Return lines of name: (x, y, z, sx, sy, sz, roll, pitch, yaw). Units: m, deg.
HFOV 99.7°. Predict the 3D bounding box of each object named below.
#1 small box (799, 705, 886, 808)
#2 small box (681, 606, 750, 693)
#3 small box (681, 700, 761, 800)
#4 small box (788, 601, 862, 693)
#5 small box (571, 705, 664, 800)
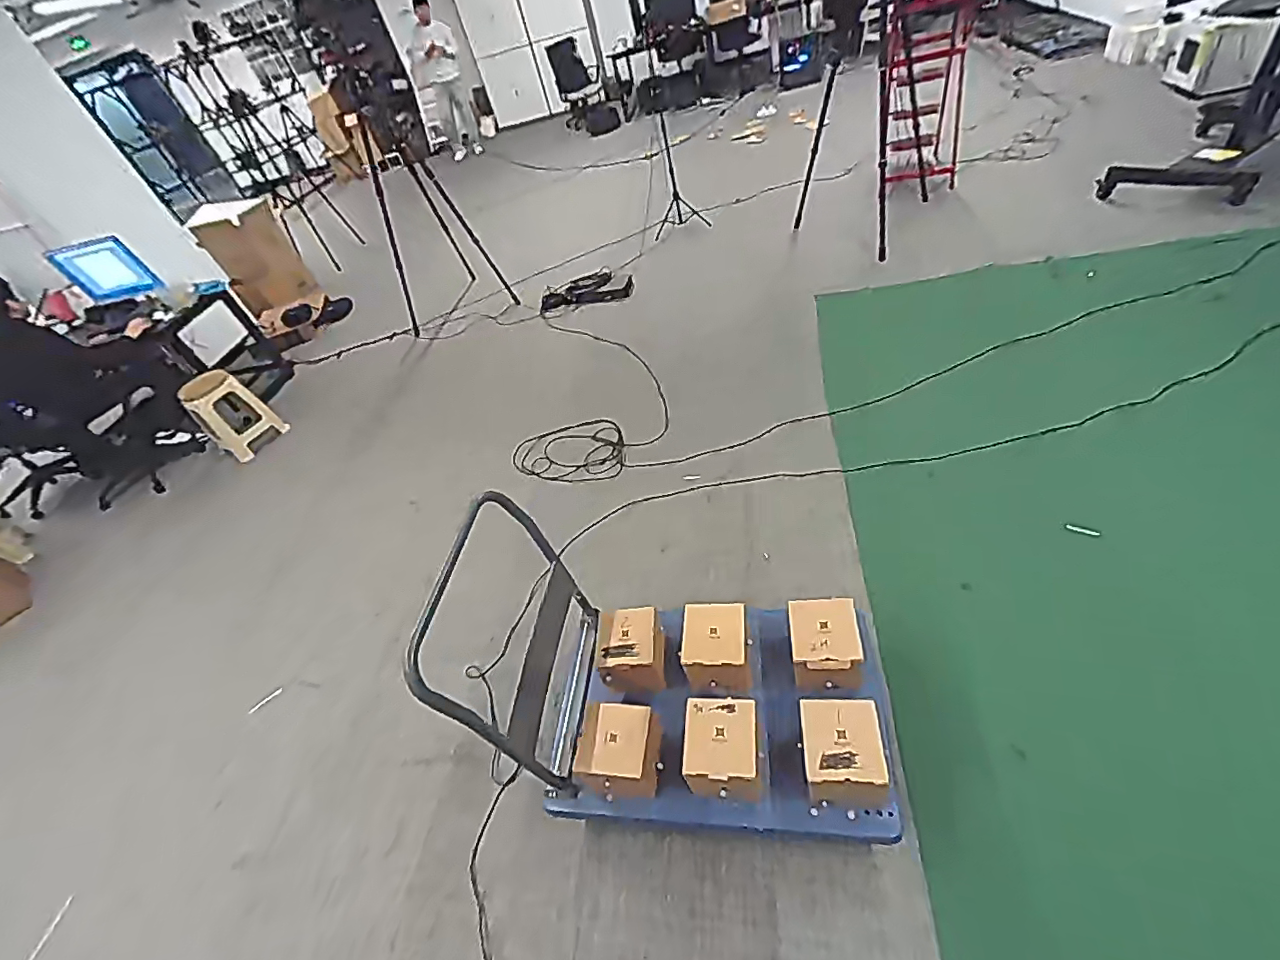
small box: (0.465, 0.641, 1.252, 0.168, 0.176, 0.179, -5, 44, 14)
small box: (0.213, 0.468, 1.495, 0.168, 0.176, 0.179, -4, 47, 15)
small box: (0.203, 0.655, 1.307, 0.168, 0.176, 0.179, -4, 46, 15)
small box: (0.483, 0.439, 1.424, 0.168, 0.176, 0.179, -6, 45, 15)
small box: (-0.050, 0.688, 1.365, 0.179, 0.176, 0.168, -2, 46, 16)
